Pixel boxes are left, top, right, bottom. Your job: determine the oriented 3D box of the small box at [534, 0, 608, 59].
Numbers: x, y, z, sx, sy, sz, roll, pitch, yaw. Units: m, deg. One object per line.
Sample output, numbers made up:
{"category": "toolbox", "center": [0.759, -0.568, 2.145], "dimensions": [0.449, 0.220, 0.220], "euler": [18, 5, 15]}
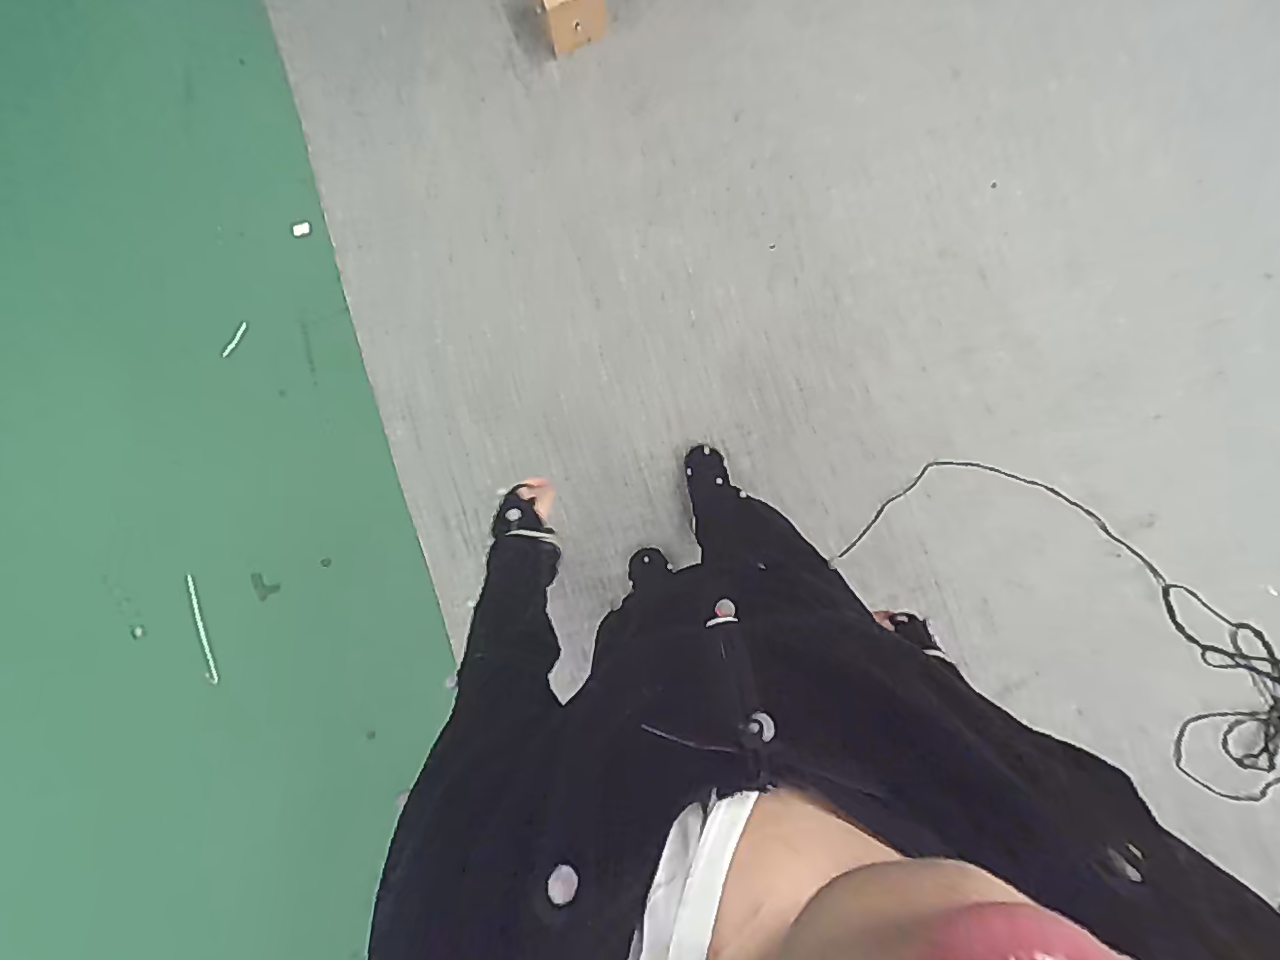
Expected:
{"category": "small box", "center": [-0.199, -1.340, 1.524], "dimensions": [0.168, 0.176, 0.179], "euler": [-24, 86, -1]}
